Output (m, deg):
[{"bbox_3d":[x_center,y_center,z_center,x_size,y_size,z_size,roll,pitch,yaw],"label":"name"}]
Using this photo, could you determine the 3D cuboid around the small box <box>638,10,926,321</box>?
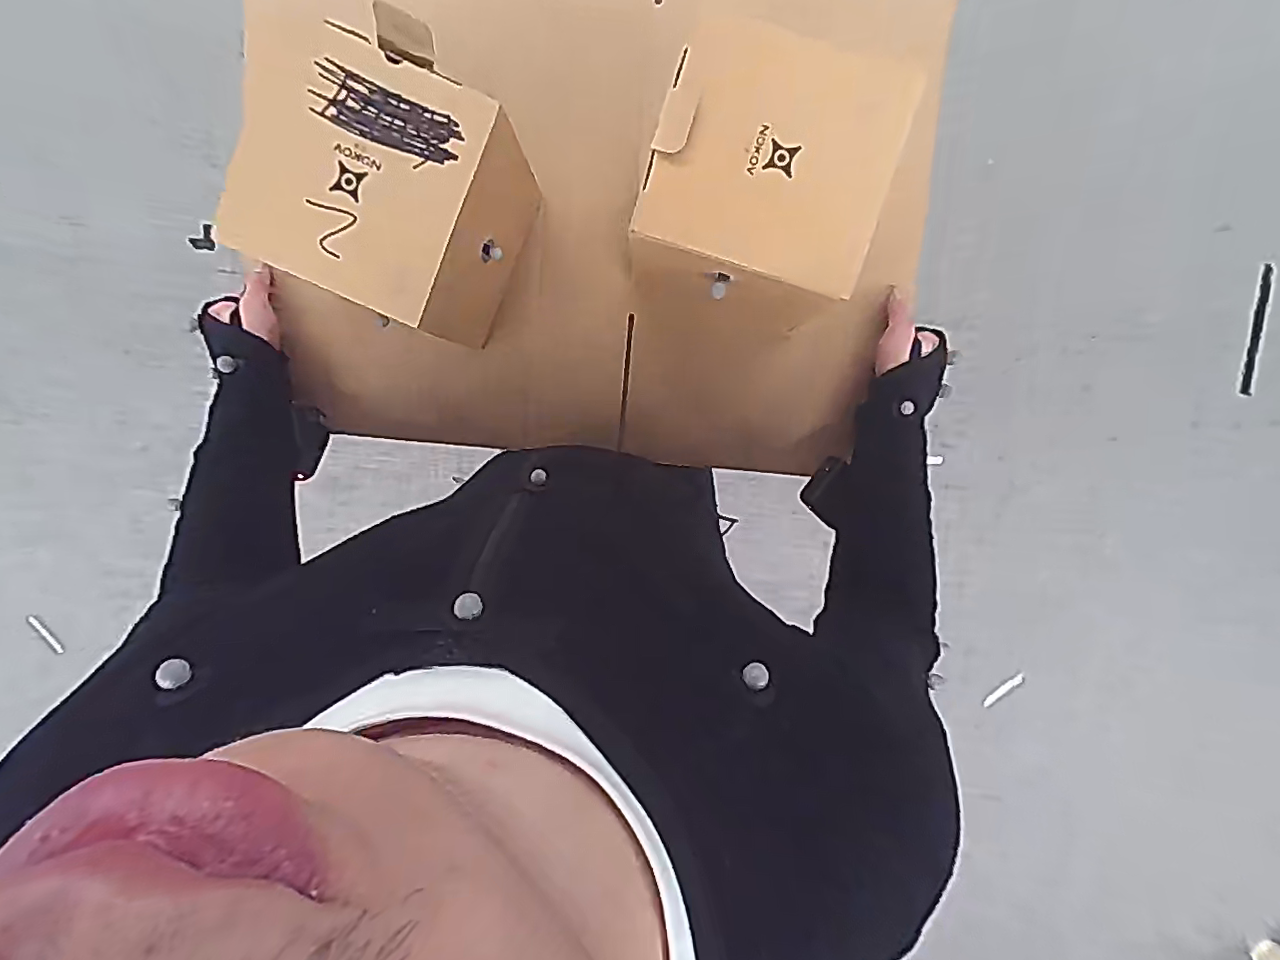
[{"bbox_3d":[0.108,-0.253,0.485,0.179,0.176,0.168,18,97,1],"label":"small box"}]
